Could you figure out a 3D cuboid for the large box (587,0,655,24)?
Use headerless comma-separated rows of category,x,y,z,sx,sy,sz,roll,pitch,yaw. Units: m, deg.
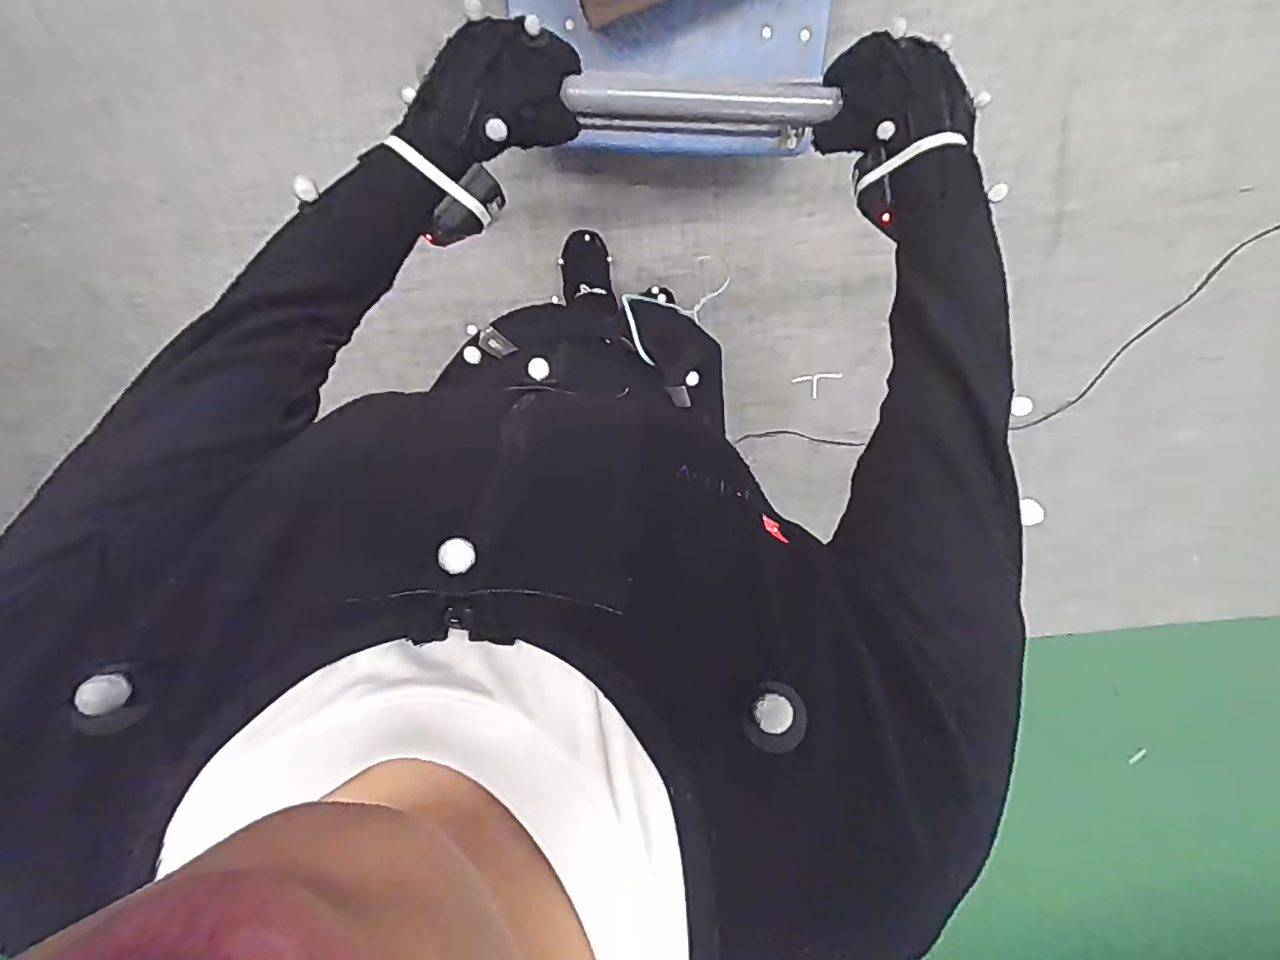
large box,0.058,-0.927,0.743,0.408,0.320,0.320,-16,116,9
